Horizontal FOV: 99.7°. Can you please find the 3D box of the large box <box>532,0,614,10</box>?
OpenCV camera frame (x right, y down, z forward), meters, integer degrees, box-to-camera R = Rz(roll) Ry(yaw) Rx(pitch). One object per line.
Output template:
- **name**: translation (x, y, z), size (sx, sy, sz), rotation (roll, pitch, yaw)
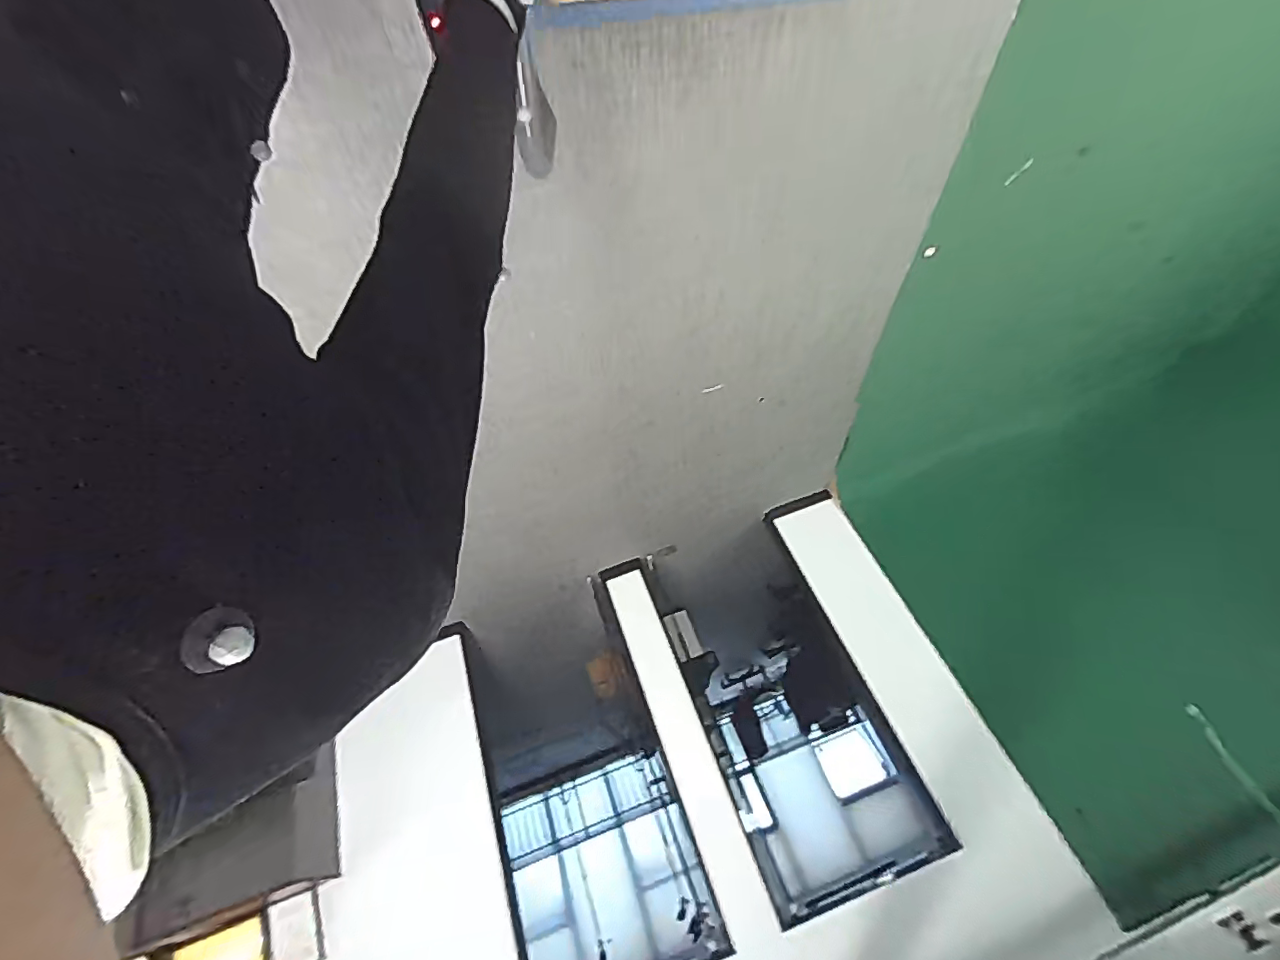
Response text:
- **large box**: translation (-0.030, -0.976, 0.818), size (0.408, 0.320, 0.320), rotation (-17, 147, -11)
